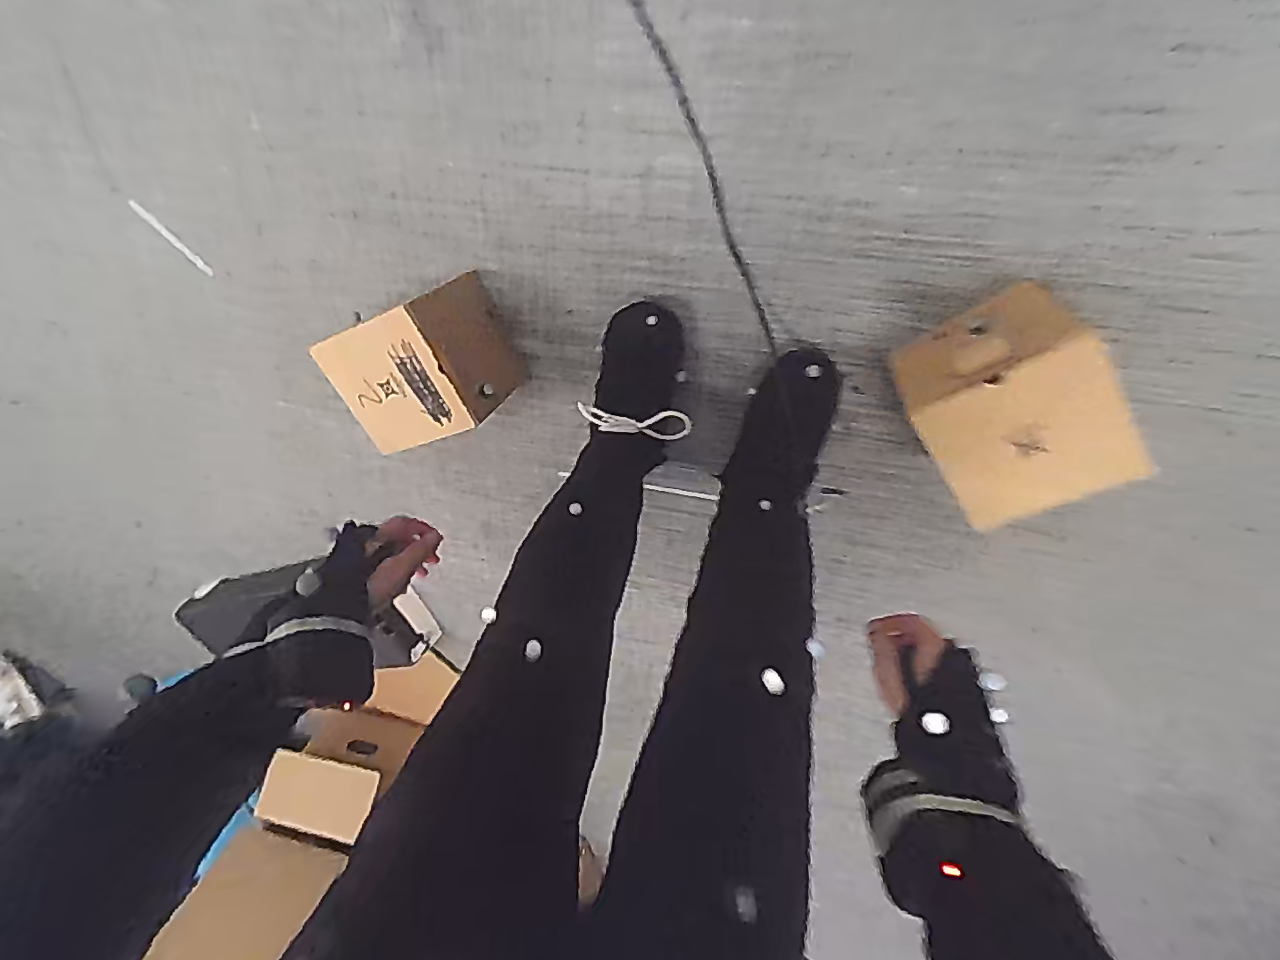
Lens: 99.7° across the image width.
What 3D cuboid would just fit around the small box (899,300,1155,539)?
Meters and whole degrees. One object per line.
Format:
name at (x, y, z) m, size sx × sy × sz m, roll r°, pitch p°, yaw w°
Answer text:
small box at (0.416, -0.070, 0.608) m, size 0.168 × 0.176 × 0.179 m, roll -28°, pitch 111°, yaw 30°
